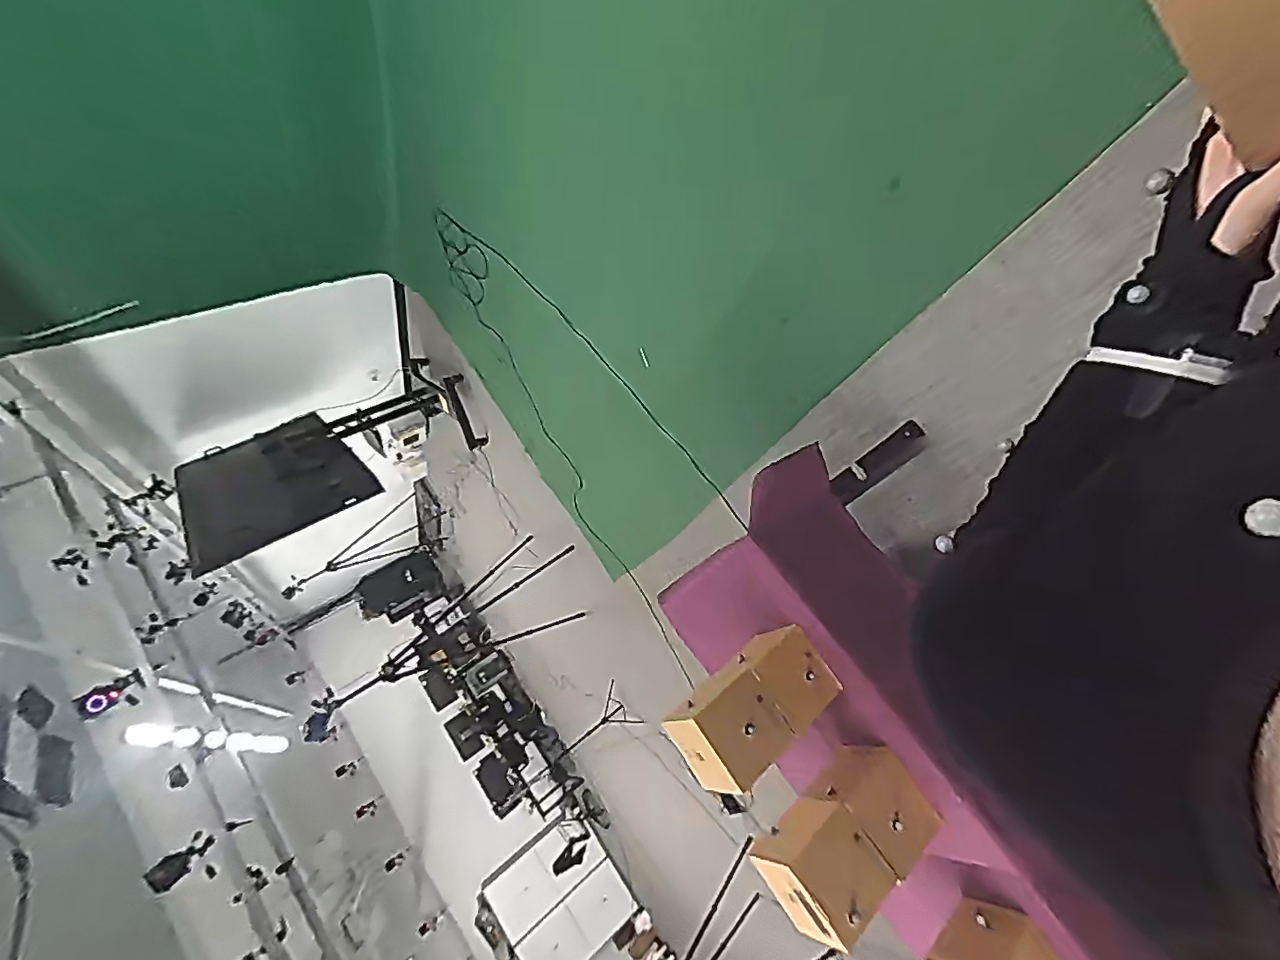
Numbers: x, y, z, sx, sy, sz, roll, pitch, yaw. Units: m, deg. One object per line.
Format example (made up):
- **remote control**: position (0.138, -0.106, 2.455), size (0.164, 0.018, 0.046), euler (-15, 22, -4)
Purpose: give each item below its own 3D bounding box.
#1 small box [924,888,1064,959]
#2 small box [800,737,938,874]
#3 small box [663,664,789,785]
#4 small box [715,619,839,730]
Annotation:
- **small box**: position (0.711, 0.958, 1.056), size (0.179, 0.176, 0.168), euler (55, 150, 10)
- **small box**: position (0.490, 0.684, 1.158), size (0.179, 0.176, 0.168), euler (54, 150, 9)
- **small box**: position (0.185, 0.509, 1.140), size (0.168, 0.176, 0.179), euler (55, 150, 10)
- **small box**: position (0.310, 0.439, 1.223), size (0.168, 0.176, 0.179), euler (55, 149, 8)
